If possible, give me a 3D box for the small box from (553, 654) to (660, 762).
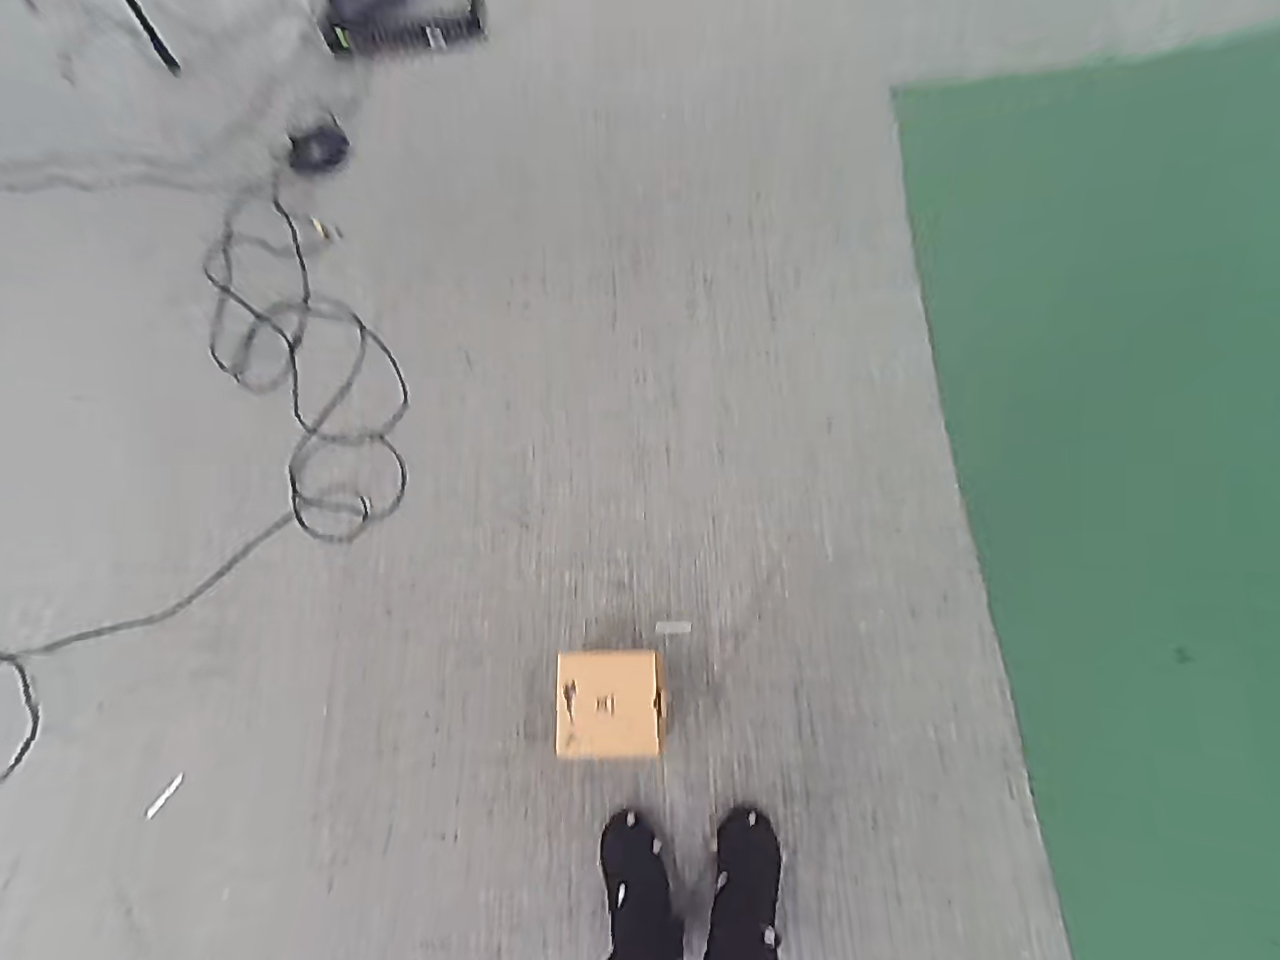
[{"bbox_3d":[-0.054,0.409,0.991,0.179,0.176,0.168,-3,73,5],"label":"small box"}]
